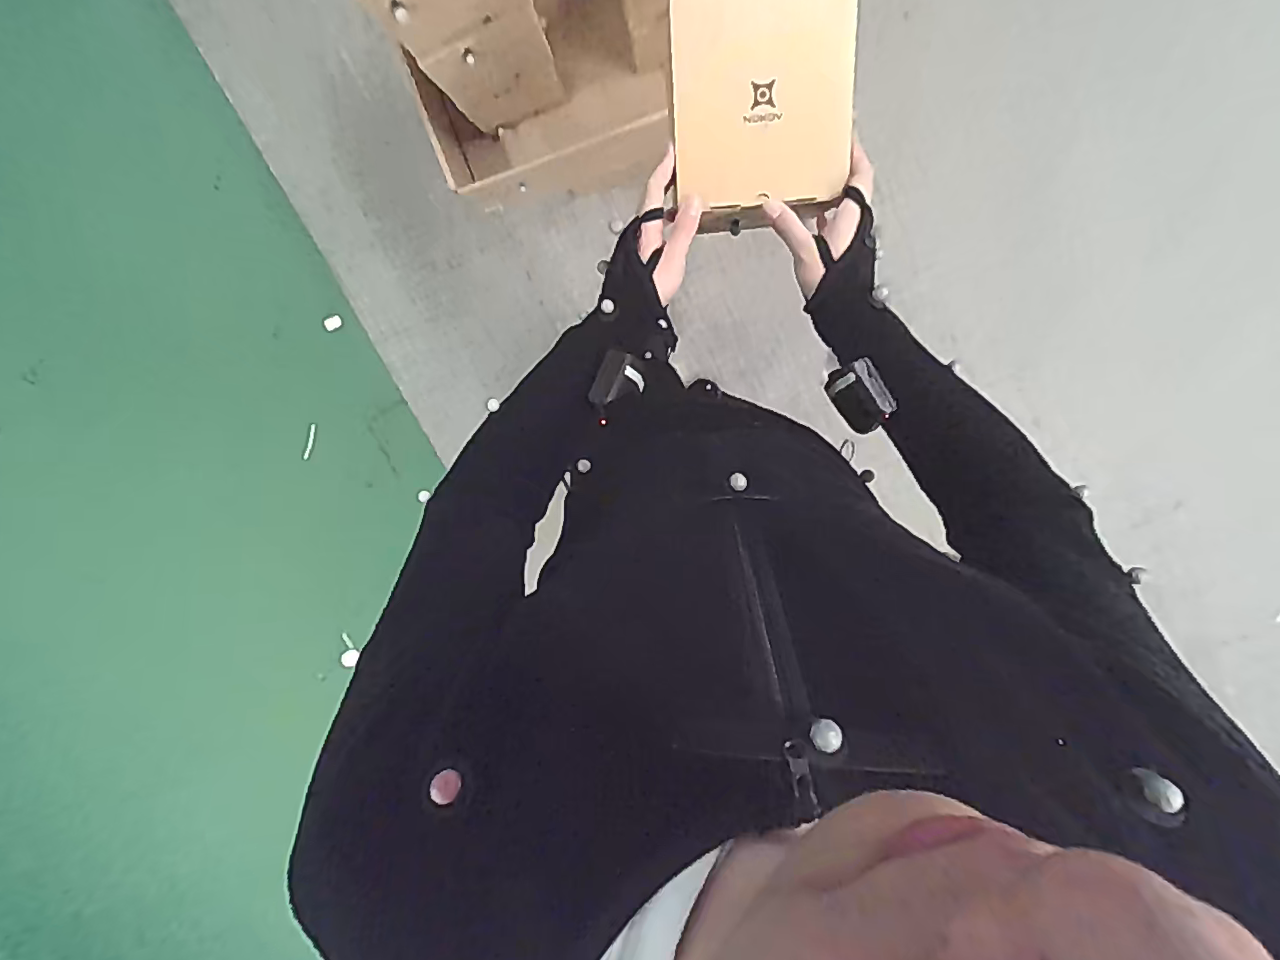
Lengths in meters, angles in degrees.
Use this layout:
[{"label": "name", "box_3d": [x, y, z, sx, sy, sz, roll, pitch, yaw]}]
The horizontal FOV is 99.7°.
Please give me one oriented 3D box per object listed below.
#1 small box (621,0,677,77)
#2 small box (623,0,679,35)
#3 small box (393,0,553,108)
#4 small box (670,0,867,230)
[{"label": "small box", "box_3d": [0.052, -0.794, 0.861, 0.168, 0.176, 0.179, -13, 107, 6]}, {"label": "small box", "box_3d": [0.041, -0.742, 0.707, 0.168, 0.176, 0.179, -13, 107, 7]}, {"label": "small box", "box_3d": [-0.236, -0.661, 0.741, 0.168, 0.176, 0.179, -20, 106, 8]}, {"label": "small box", "box_3d": [0.119, -0.371, 0.563, 0.168, 0.176, 0.179, -3, 109, 3]}]
